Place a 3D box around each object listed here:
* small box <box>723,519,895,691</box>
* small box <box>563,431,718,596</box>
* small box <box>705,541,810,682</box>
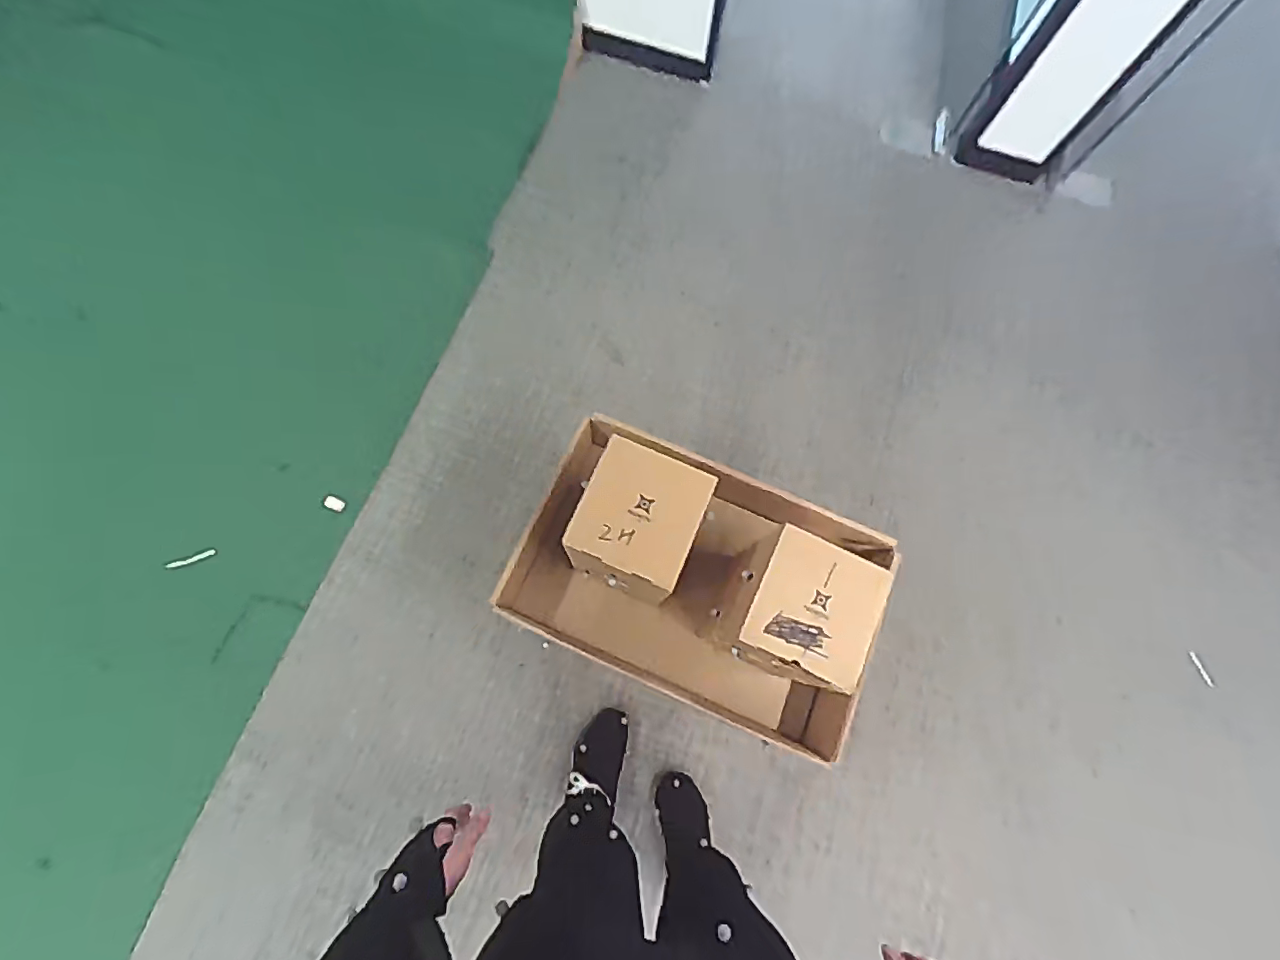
[{"bbox_3d":[0.233,0.184,0.792,0.168,0.176,0.179,26,74,5],"label":"small box"},{"bbox_3d":[-0.002,0.059,0.816,0.168,0.176,0.179,24,74,5],"label":"small box"},{"bbox_3d":[0.225,0.230,0.950,0.168,0.176,0.179,25,75,5],"label":"small box"}]
